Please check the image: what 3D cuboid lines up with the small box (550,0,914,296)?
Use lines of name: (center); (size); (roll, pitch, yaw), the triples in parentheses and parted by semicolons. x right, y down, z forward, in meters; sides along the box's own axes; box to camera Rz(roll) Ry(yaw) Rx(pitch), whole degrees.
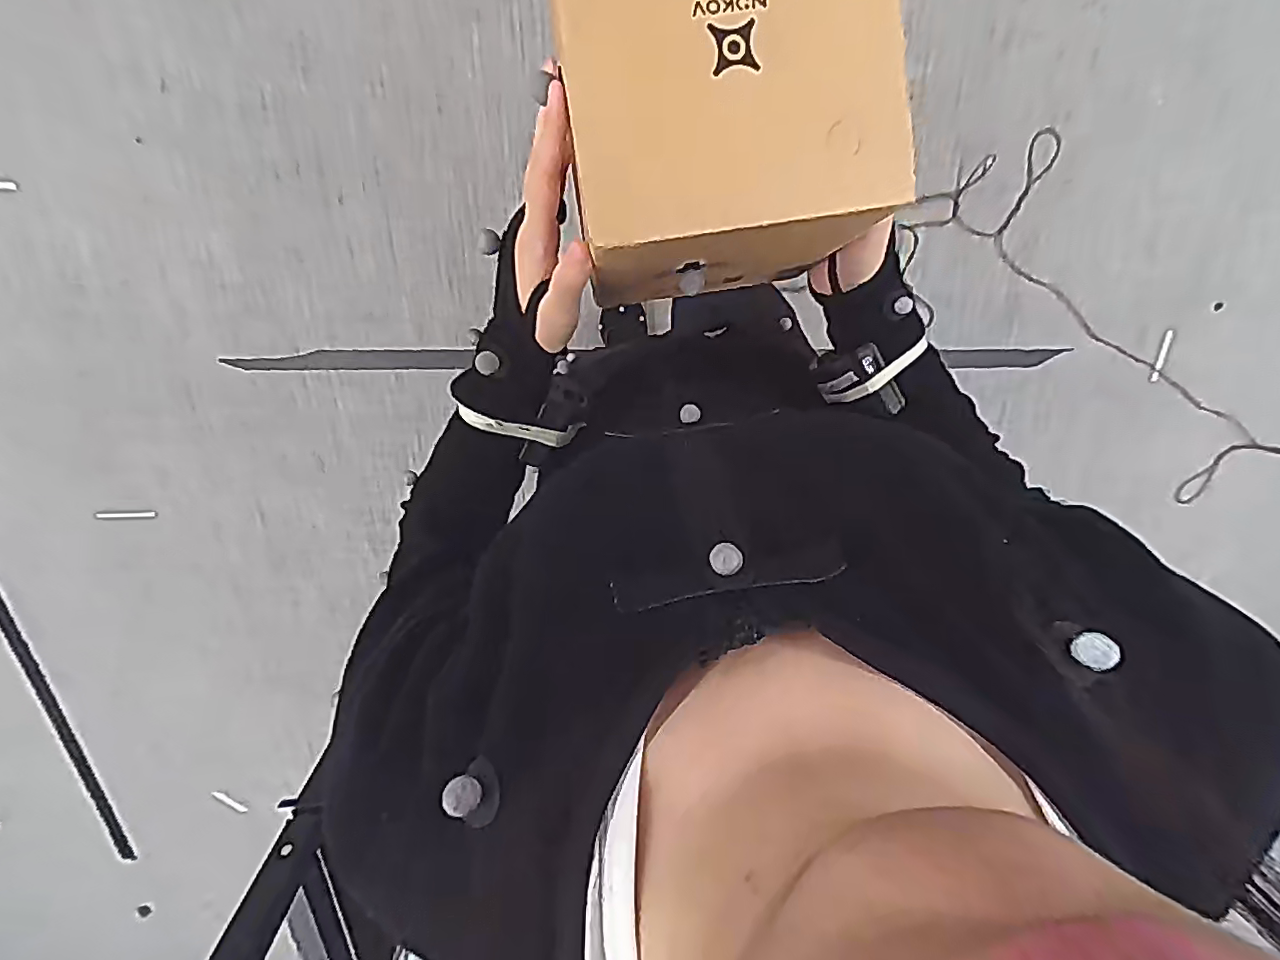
small box: (0.040, -0.222, 0.335); (0.168, 0.176, 0.179); (-10, 98, -3)
